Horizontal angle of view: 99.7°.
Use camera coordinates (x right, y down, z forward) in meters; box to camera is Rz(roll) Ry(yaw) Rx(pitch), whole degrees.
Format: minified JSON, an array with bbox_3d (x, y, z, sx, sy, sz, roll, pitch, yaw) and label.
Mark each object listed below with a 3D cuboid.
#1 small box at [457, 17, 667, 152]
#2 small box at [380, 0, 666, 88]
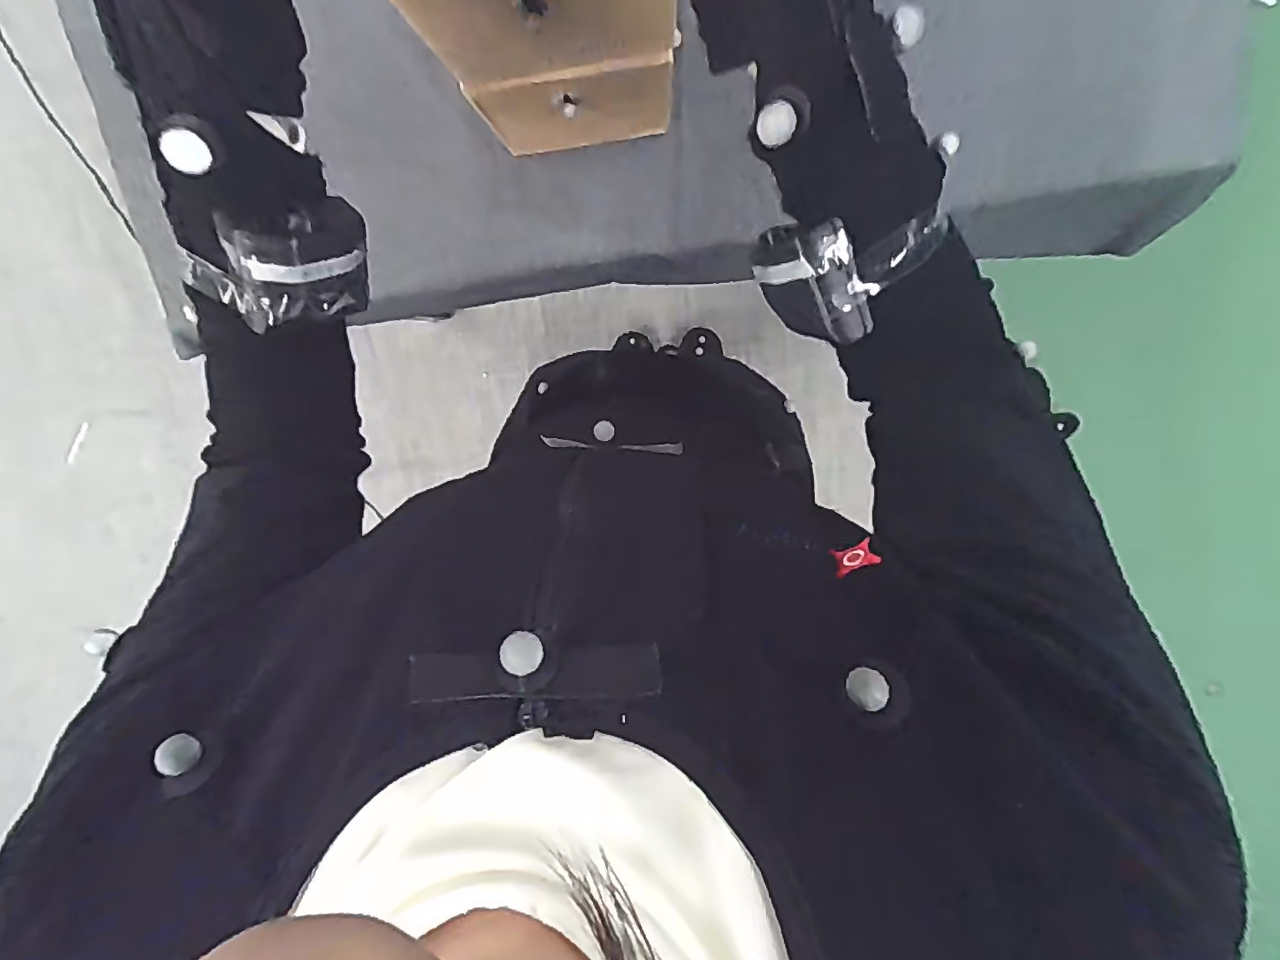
[{"bbox_3d":[-0.070,-0.424,0.497,0.179,0.176,0.168,-7,106,3],"label":"small box"},{"bbox_3d":[-0.076,-0.383,0.338,0.179,0.176,0.168,-7,106,5],"label":"small box"}]
